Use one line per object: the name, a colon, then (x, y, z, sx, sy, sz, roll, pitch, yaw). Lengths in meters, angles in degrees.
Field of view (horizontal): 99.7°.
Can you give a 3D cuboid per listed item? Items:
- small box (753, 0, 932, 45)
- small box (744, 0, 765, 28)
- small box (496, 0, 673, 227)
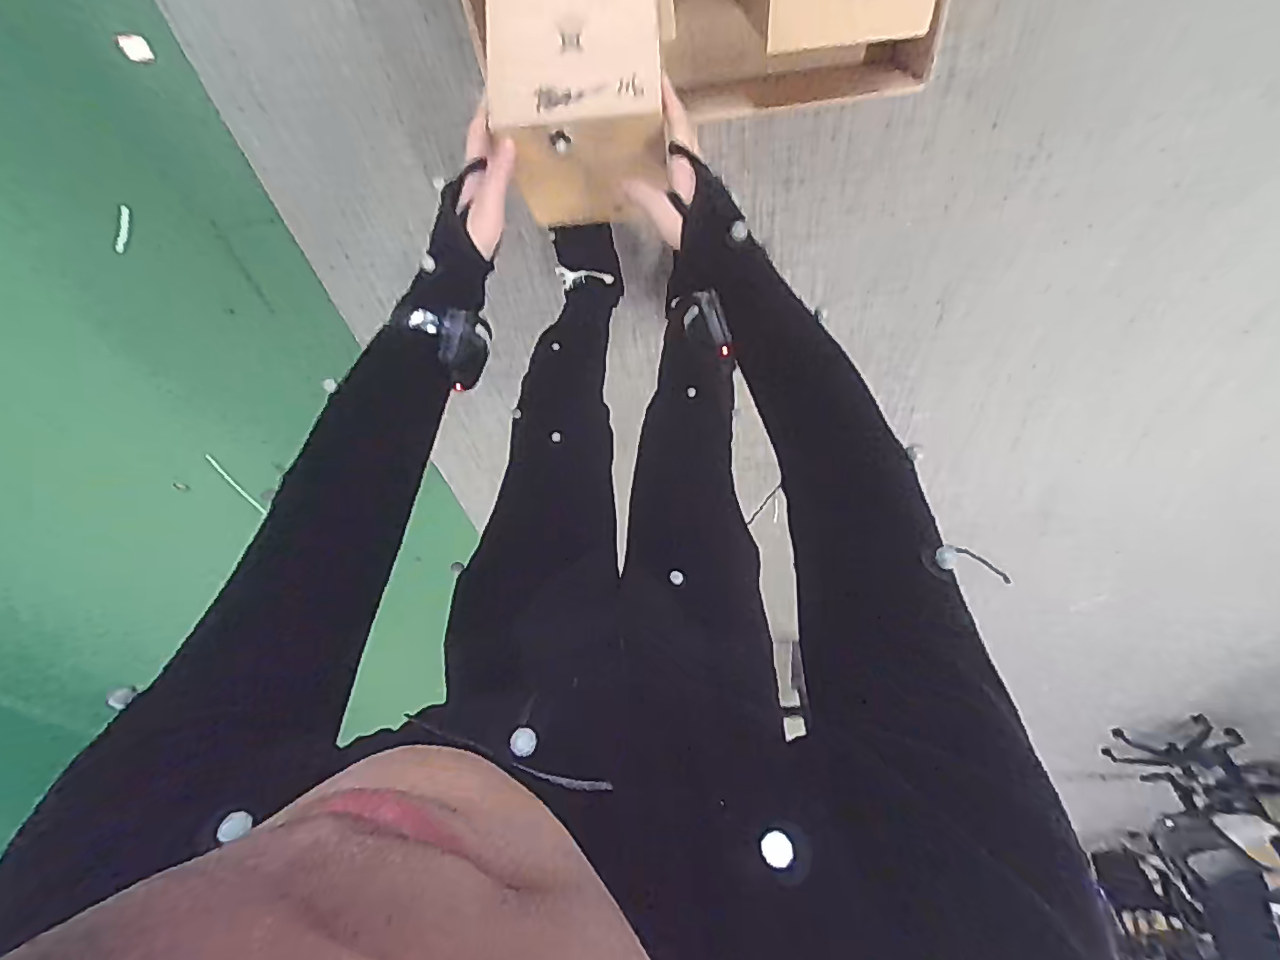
small box: (0.212, -0.586, 0.564, 0.168, 0.176, 0.179, -2, 138, 5)
small box: (0.217, -0.704, 0.676, 0.168, 0.176, 0.179, -4, 137, 7)
small box: (-0.050, -0.411, 0.593, 0.168, 0.179, 0.176, -3, 172, 5)
